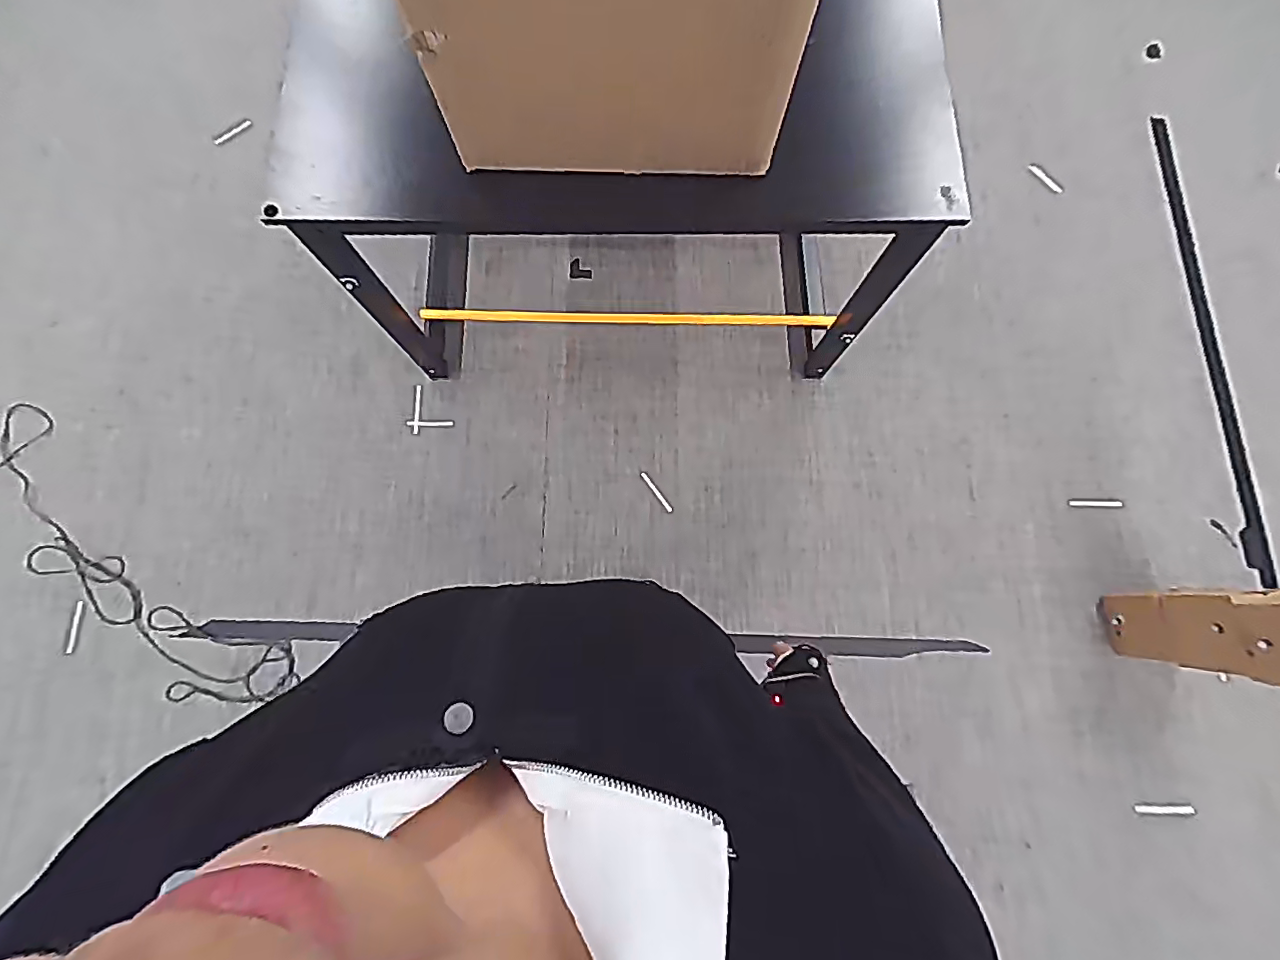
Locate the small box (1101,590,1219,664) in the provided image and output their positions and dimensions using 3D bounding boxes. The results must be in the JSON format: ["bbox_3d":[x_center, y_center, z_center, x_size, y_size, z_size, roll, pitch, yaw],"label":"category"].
[{"bbox_3d":[1.373,0.377,1.412,0.179,0.176,0.168,-7,77,0],"label":"small box"}]

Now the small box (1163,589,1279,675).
[{"bbox_3d":[1.376,0.348,1.250,0.168,0.176,0.179,-4,78,-1],"label":"small box"}]

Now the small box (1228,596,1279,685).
[{"bbox_3d":[1.372,0.322,1.087,0.179,0.176,0.168,-8,77,-1],"label":"small box"}]
